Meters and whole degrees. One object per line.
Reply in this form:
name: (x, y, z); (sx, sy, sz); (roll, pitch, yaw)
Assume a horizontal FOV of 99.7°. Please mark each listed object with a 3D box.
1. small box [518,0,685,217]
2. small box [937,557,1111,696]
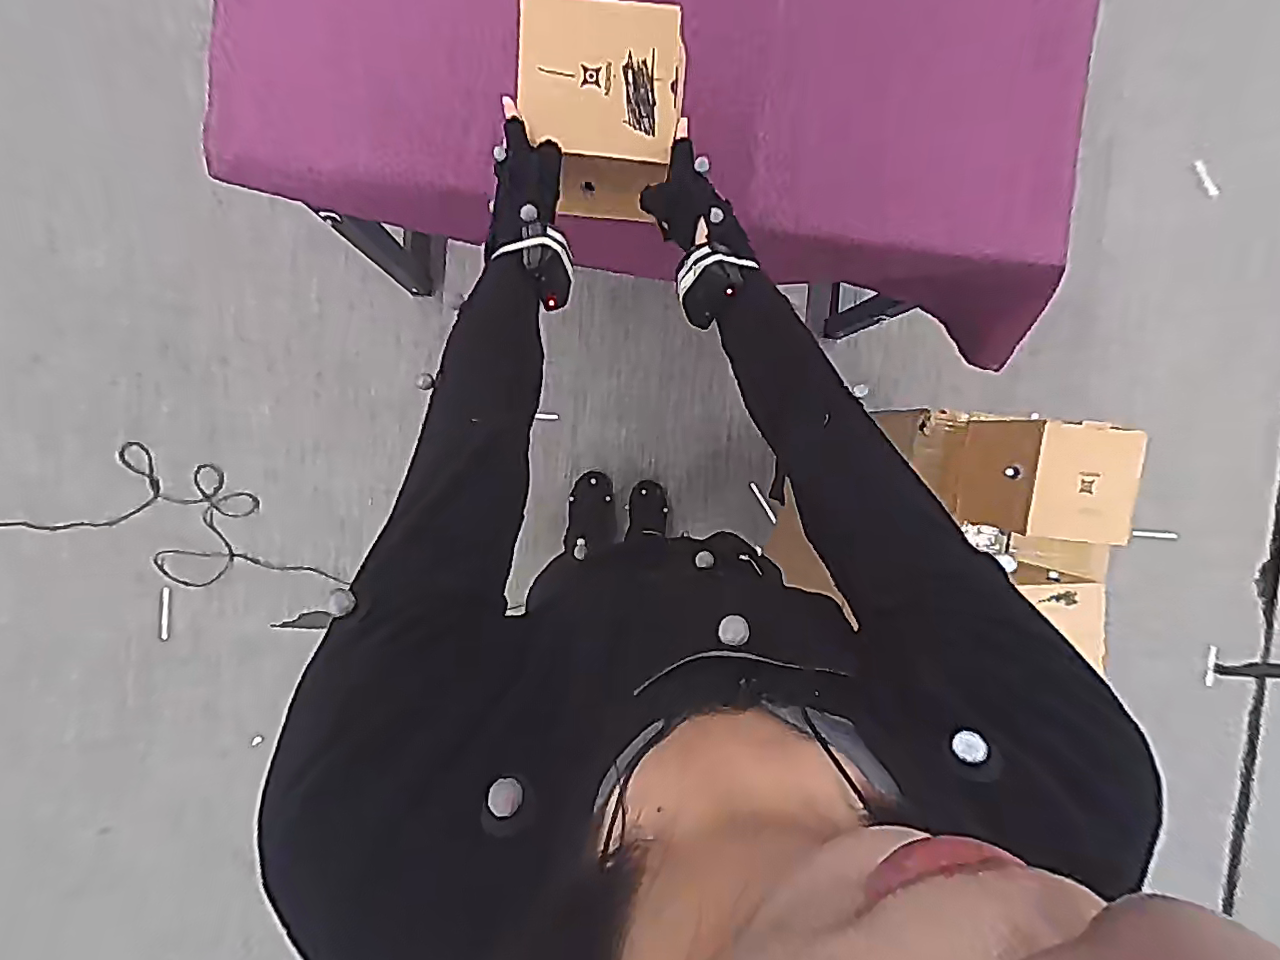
small box: (-0.049, -0.445, 0.666); (0.179, 0.176, 0.168); (3, 93, -5)
small box: (0.612, 0.230, 0.883); (0.168, 0.176, 0.179); (-1, 93, -4)
